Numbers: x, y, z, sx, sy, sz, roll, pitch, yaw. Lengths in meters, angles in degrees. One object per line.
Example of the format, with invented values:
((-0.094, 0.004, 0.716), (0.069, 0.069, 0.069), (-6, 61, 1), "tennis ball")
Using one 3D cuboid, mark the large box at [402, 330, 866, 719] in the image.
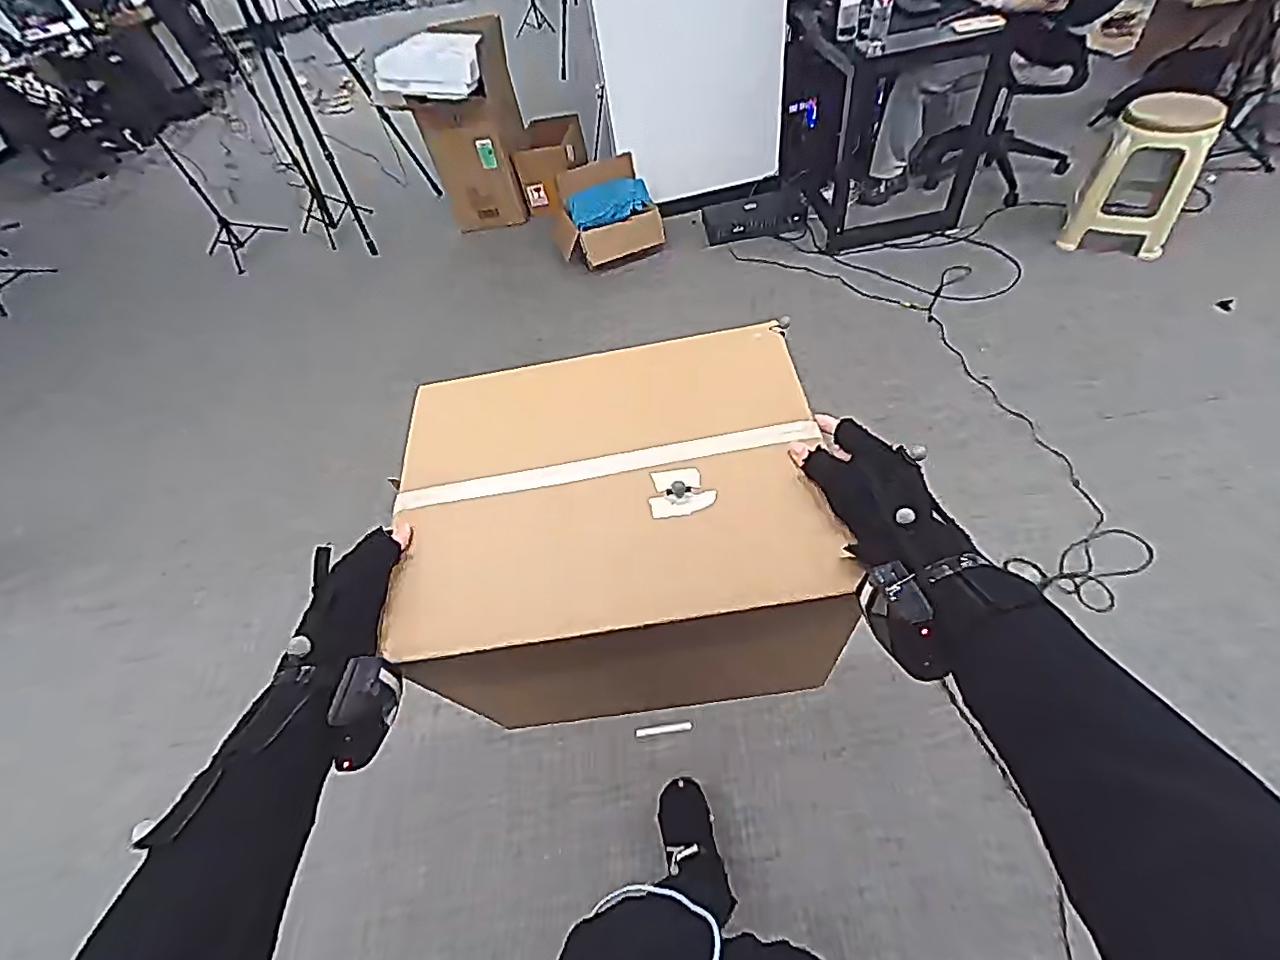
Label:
((-0.007, 0.070, 0.653), (0.408, 0.320, 0.320), (-9, 56, 3), "large box")
